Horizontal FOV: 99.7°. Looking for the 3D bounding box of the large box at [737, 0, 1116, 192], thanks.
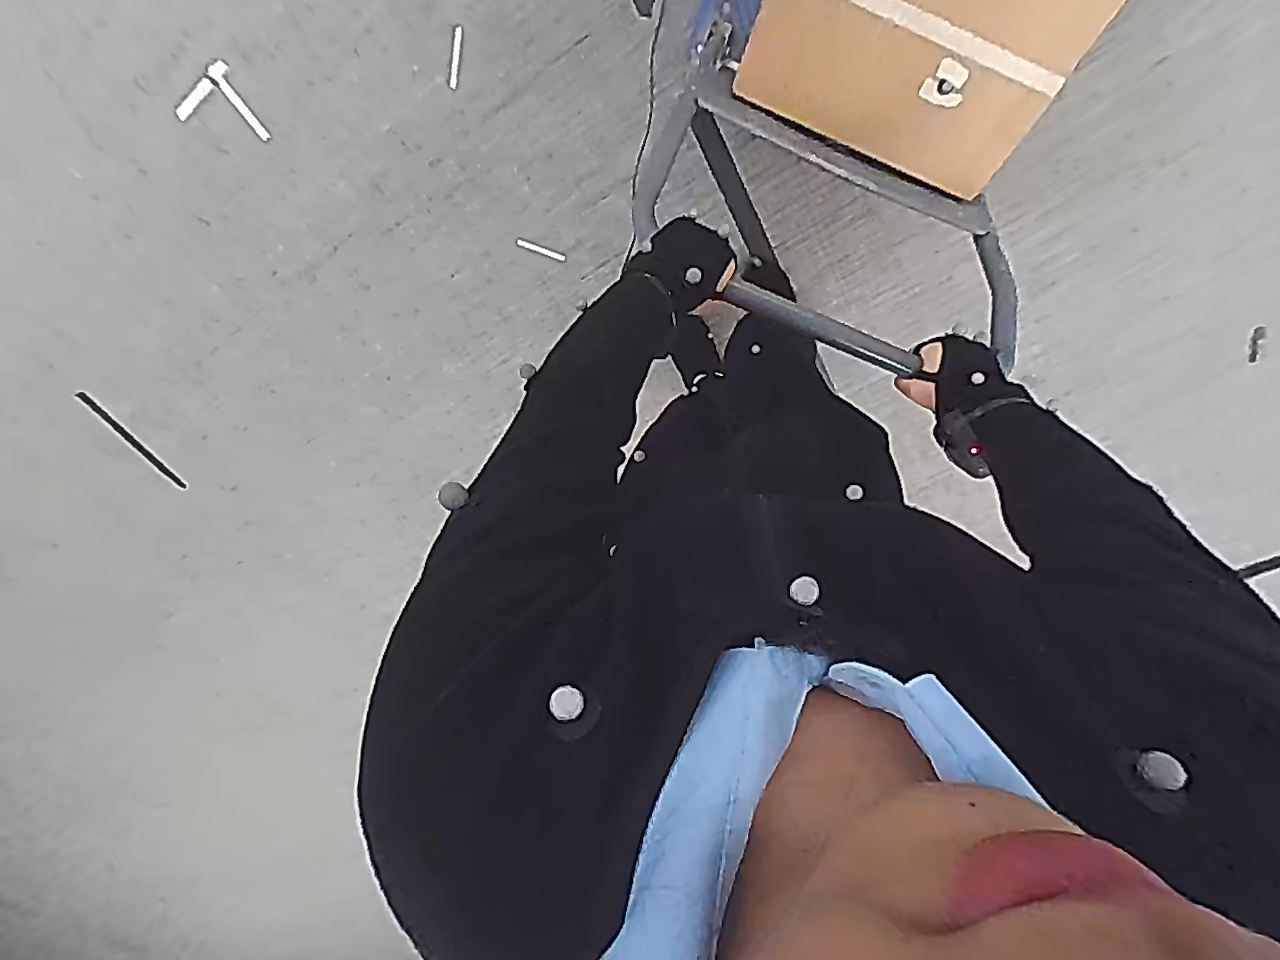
[{"bbox_3d":[0.396,-0.708,0.803,0.408,0.320,0.320,20,139,-6],"label":"large box"}]
